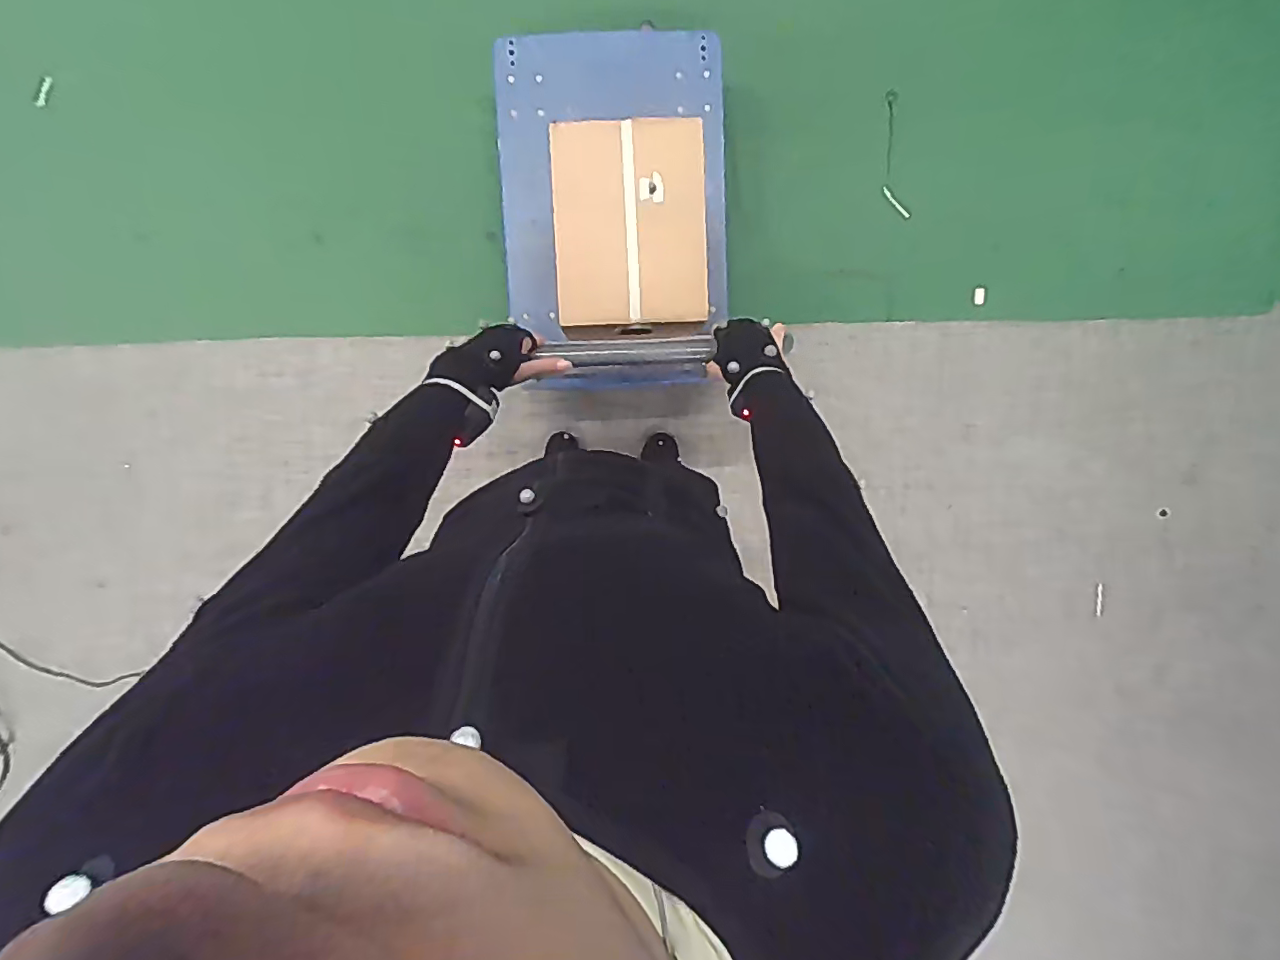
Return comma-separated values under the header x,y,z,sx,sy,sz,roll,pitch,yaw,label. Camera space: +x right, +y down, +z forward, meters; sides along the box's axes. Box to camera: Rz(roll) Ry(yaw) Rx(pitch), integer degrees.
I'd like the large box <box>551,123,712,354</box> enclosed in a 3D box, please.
x,y,z,sx,sy,sz,roll,pitch,yaw,label
-0.018,-0.521,1.243,0.320,0.320,0.408,-3,94,-2,large box
